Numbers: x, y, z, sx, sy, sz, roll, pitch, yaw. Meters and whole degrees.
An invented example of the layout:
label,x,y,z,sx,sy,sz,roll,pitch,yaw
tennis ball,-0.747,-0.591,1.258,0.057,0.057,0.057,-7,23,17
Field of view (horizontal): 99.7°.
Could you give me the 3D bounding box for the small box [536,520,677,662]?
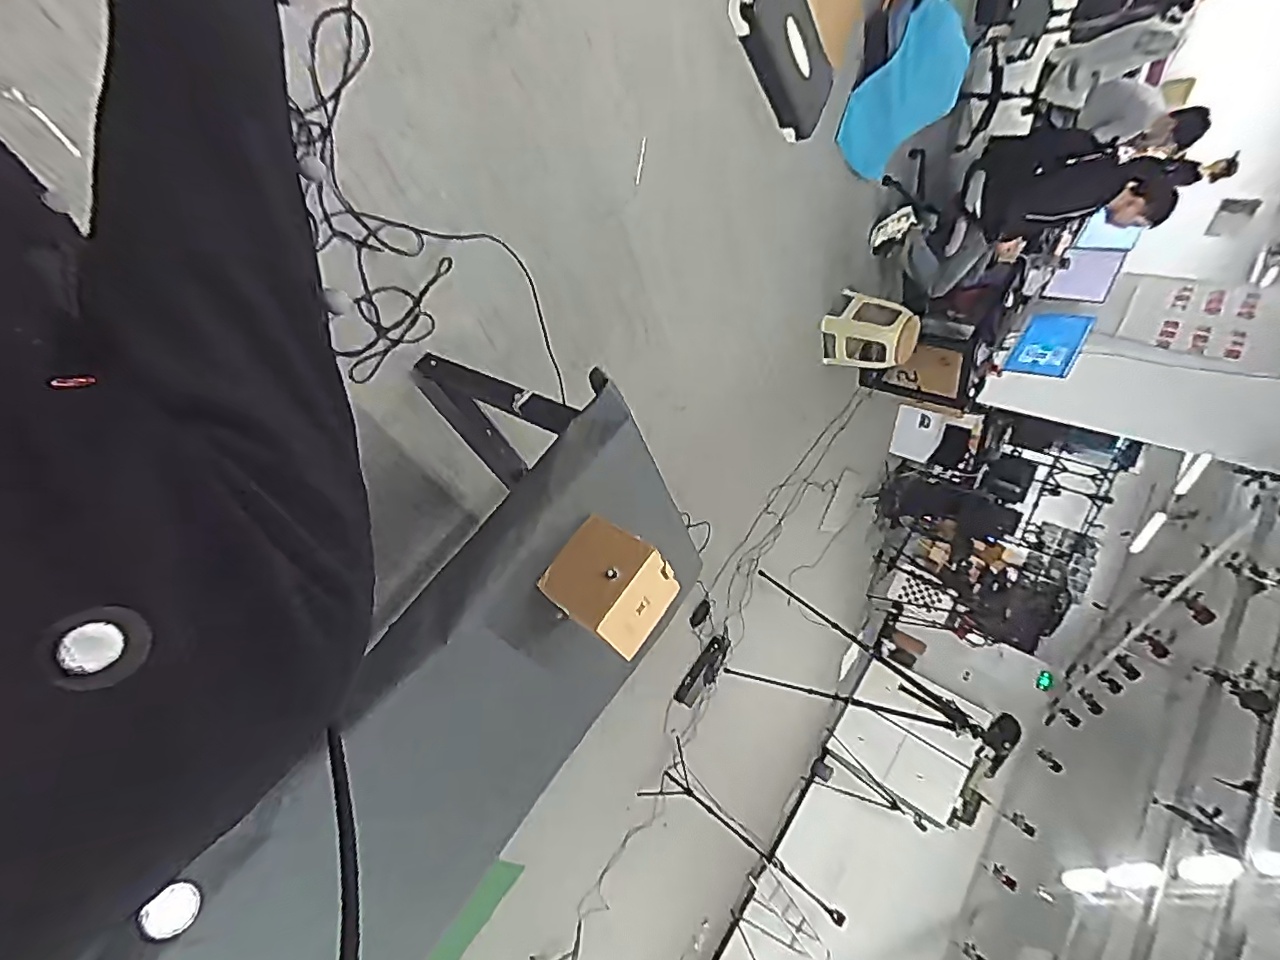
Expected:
label,x,y,z,sx,sy,sz,roll,pitch,yaw
small box,-0.062,0.204,1.024,0.179,0.176,0.168,-51,142,-18
